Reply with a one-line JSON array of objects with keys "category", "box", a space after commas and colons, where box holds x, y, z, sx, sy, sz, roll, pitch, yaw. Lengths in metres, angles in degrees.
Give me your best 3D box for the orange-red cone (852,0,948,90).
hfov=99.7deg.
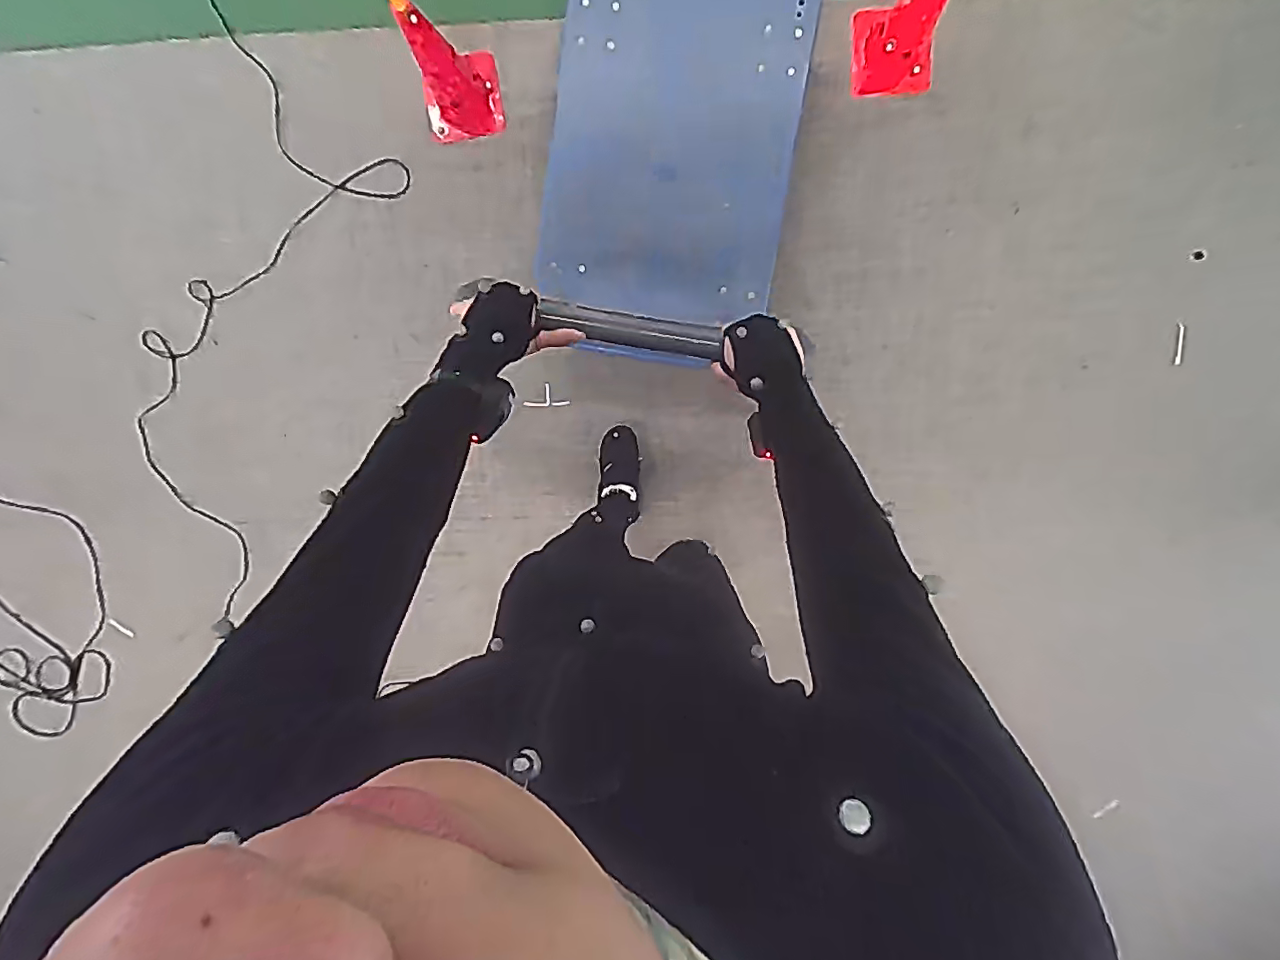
[{"category": "orange-red cone", "box": [0.630, -1.065, 1.189, 0.198, 0.360, 0.199, -1, 97, 2]}]
